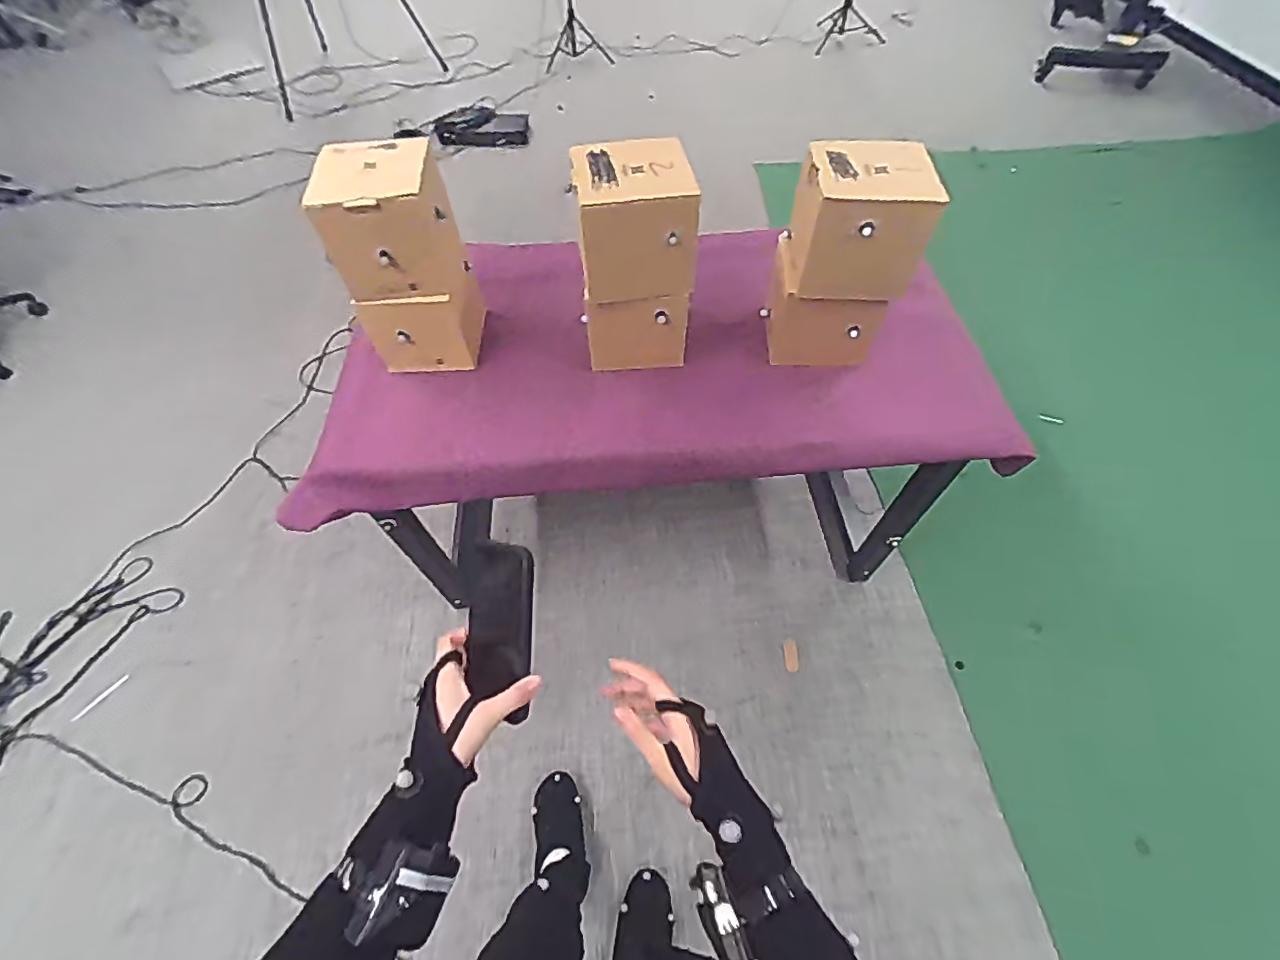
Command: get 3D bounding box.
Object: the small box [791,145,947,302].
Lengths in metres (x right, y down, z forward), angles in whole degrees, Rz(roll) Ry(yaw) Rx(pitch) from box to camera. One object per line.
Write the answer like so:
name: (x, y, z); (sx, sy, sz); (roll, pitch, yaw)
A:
small box: (0.343, -0.401, 0.855); (0.179, 0.176, 0.168); (2, 57, 2)

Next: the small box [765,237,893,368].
small box: (0.337, -0.323, 1.000); (0.179, 0.176, 0.168); (2, 56, 3)

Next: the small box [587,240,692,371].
small box: (-0.003, -0.319, 1.004); (0.179, 0.176, 0.168); (-3, 57, 0)

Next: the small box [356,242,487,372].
small box: (-0.394, -0.317, 1.013); (0.168, 0.176, 0.179); (-2, 57, 0)

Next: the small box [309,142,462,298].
small box: (-0.398, -0.414, 0.880); (0.168, 0.176, 0.179); (-6, 57, -4)
